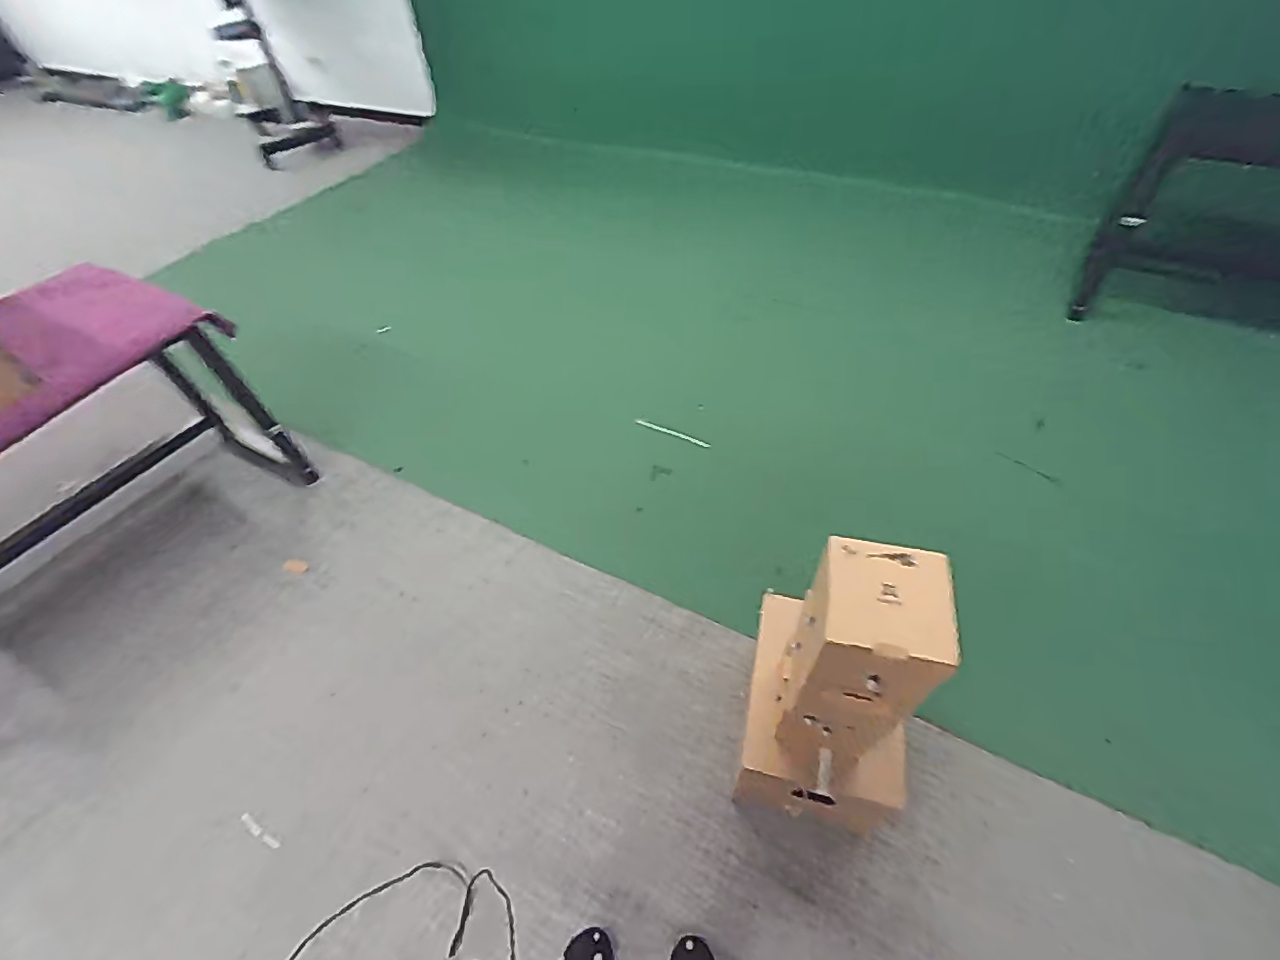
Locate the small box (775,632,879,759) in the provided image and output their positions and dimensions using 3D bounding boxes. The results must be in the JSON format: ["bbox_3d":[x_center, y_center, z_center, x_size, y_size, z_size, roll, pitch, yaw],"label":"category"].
[{"bbox_3d":[0.368,0.426,1.061,0.179,0.176,0.168,10,51,13],"label":"small box"}]

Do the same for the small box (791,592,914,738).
[{"bbox_3d":[0.359,0.323,0.935,0.168,0.176,0.179,9,50,12],"label":"small box"}]

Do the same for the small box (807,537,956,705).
[{"bbox_3d":[0.352,0.214,0.812,0.168,0.176,0.179,9,52,13],"label":"small box"}]

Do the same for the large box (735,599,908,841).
[{"bbox_3d":[0.407,0.556,1.269,0.320,0.320,0.408,10,49,12],"label":"large box"}]
